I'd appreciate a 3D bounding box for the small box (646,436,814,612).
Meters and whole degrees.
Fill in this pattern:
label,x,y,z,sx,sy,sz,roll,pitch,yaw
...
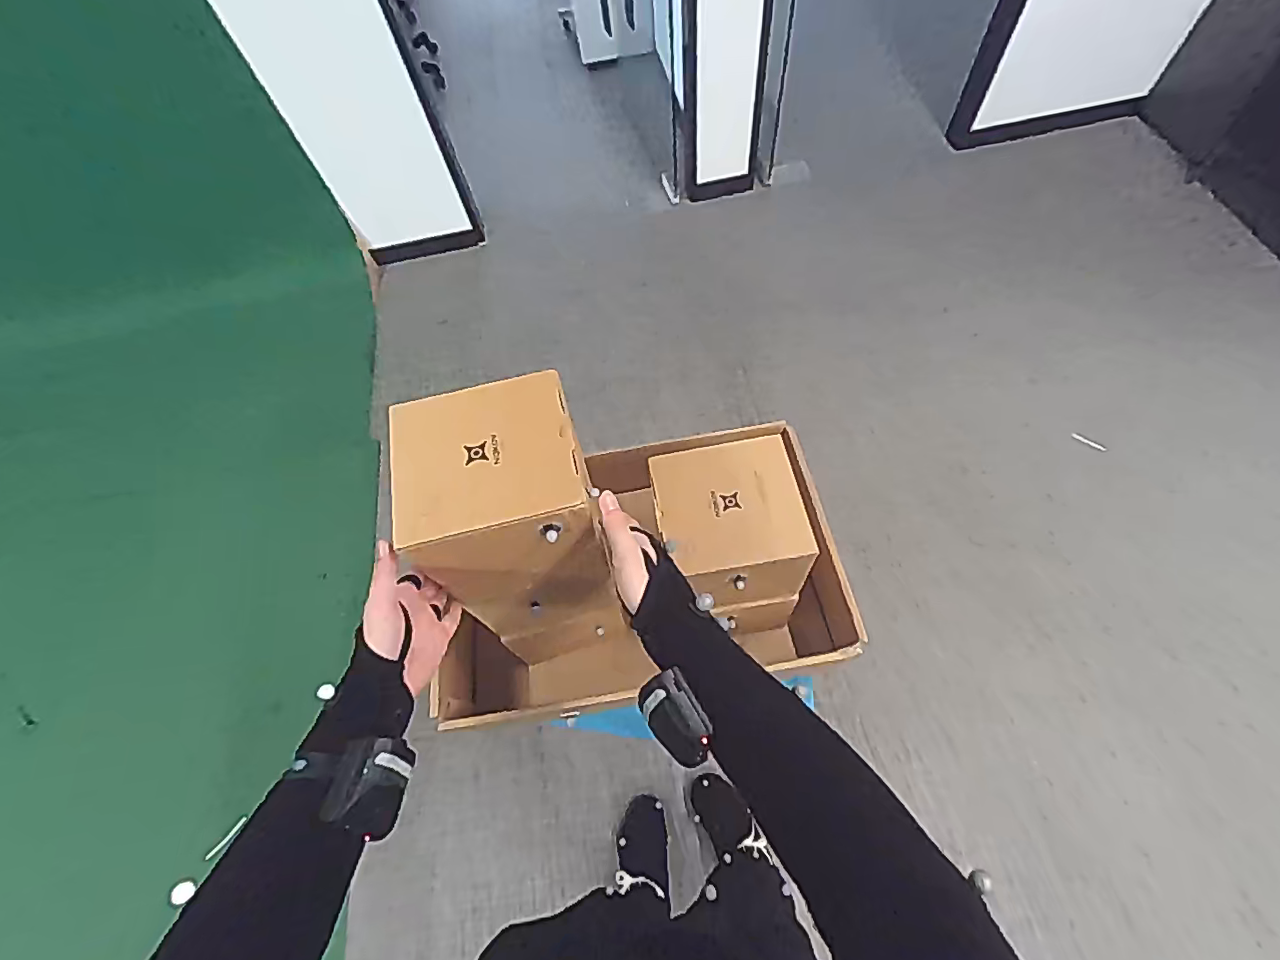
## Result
label,x,y,z,sx,sy,sz,roll,pitch,yaw
small box,0.112,0.067,0.719,0.179,0.176,0.168,-10,61,2

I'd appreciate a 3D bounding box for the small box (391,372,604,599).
label,x,y,z,sx,sy,sz,roll,pitch,yaw
small box,-0.148,0.015,0.590,0.179,0.176,0.168,-14,61,-5

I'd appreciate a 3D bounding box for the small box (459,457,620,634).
label,x,y,z,sx,sy,sz,roll,pitch,yaw
small box,-0.135,0.095,0.731,0.179,0.176,0.168,-14,61,-3
